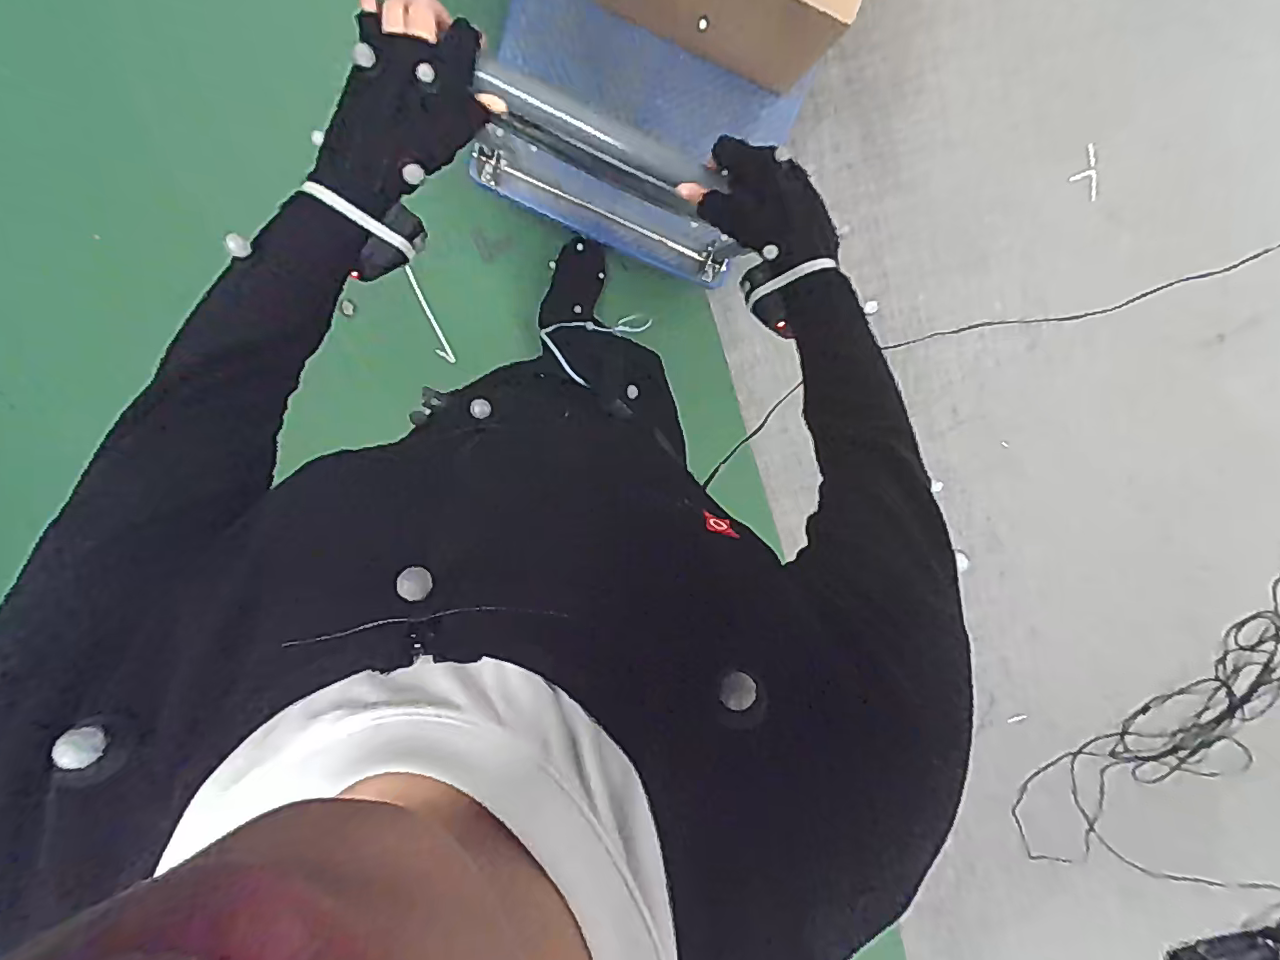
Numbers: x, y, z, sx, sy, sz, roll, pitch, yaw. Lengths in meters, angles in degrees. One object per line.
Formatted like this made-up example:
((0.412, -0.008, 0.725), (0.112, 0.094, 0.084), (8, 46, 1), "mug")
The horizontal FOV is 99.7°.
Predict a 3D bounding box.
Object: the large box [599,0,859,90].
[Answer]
((0.164, -0.904, 0.848), (0.408, 0.320, 0.320), (19, 107, -9), "large box")
